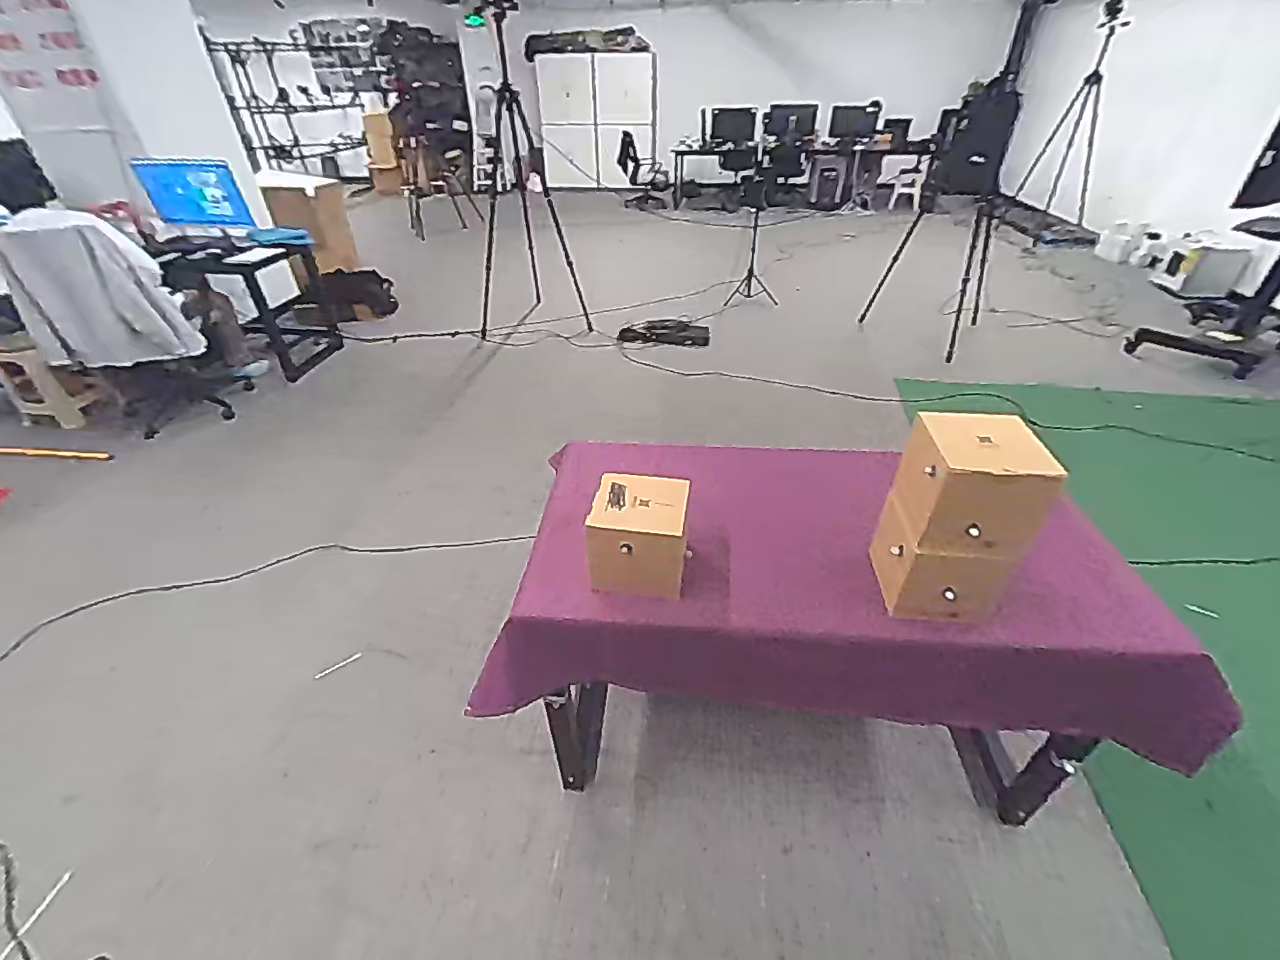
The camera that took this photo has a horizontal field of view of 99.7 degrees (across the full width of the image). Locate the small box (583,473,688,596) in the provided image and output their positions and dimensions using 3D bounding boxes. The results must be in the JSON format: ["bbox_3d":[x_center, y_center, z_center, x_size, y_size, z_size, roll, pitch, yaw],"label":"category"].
[{"bbox_3d":[-0.005,0.106,1.054,0.179,0.176,0.168,6,37,7],"label":"small box"}]

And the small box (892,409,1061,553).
[{"bbox_3d":[0.544,0.000,0.908,0.168,0.176,0.179,3,38,6],"label":"small box"}]

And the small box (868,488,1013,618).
[{"bbox_3d":[0.540,0.135,1.000,0.168,0.176,0.179,3,37,5],"label":"small box"}]
